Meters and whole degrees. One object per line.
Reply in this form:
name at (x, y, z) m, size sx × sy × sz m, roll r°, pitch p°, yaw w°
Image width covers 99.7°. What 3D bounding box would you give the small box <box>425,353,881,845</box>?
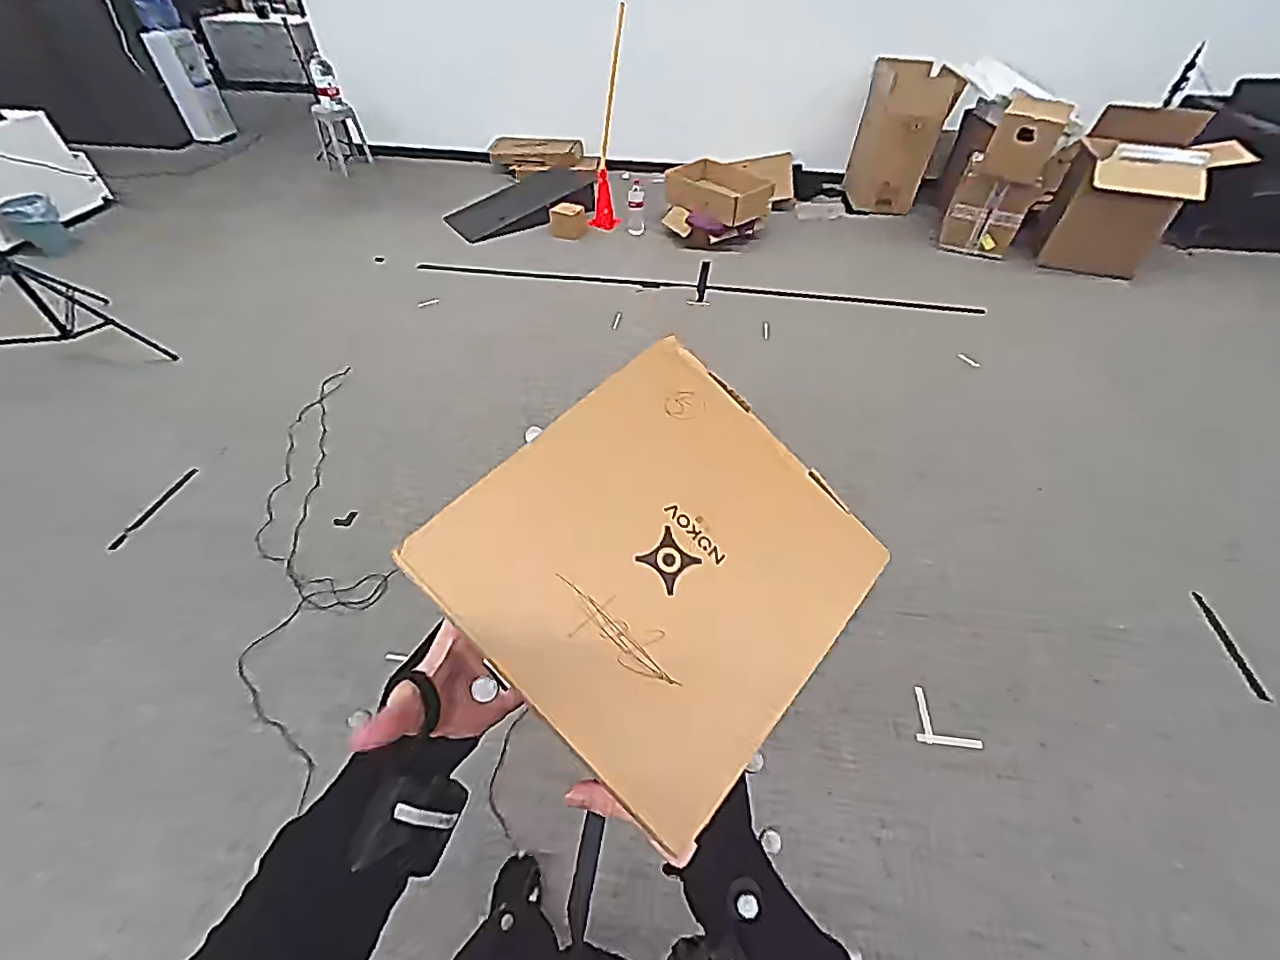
small box at (-0.003, 0.064, 0.332) m, size 0.168 × 0.176 × 0.179 m, roll 45°, pitch 66°, yaw 2°
